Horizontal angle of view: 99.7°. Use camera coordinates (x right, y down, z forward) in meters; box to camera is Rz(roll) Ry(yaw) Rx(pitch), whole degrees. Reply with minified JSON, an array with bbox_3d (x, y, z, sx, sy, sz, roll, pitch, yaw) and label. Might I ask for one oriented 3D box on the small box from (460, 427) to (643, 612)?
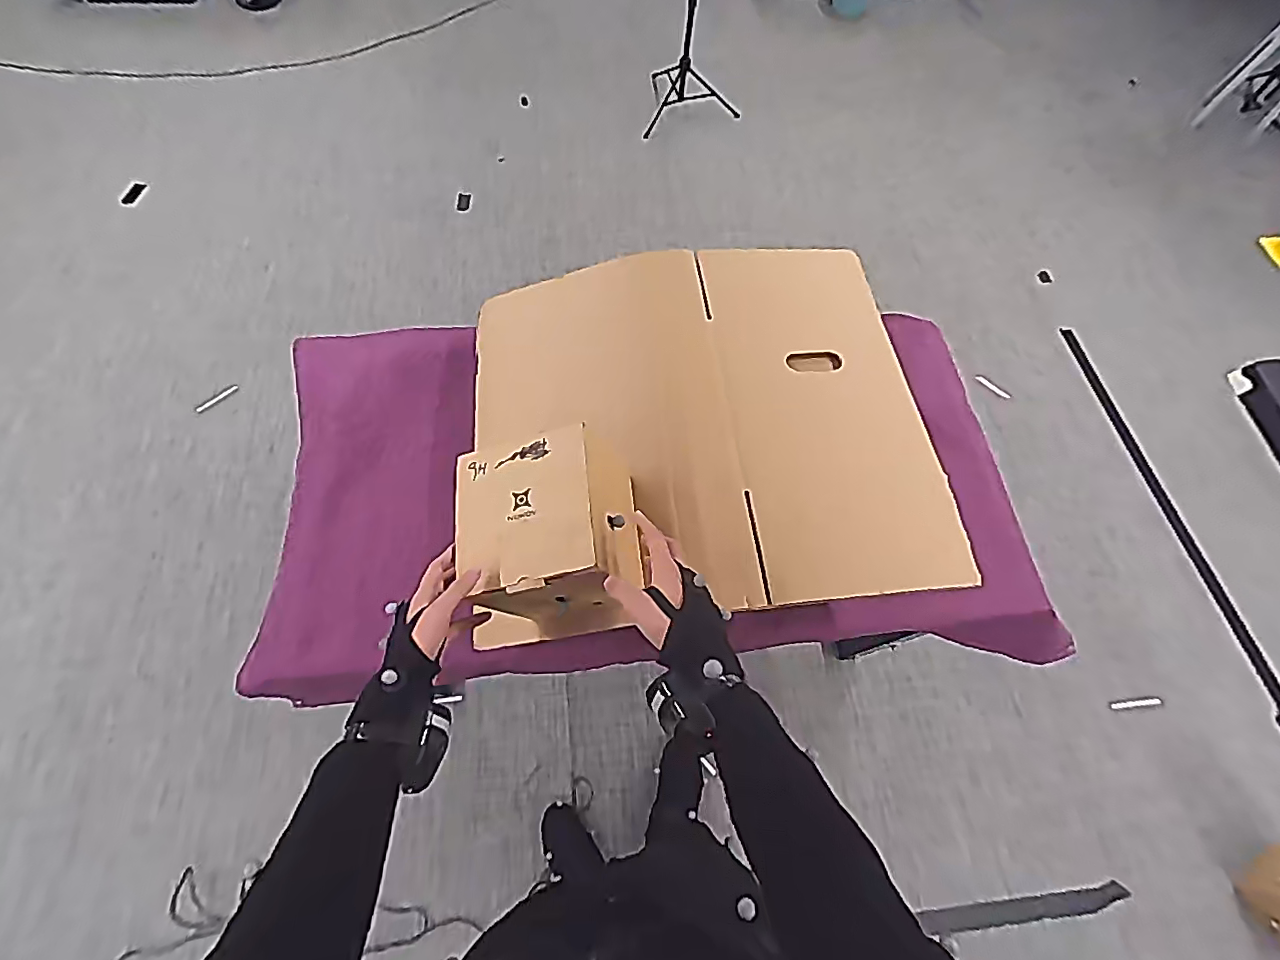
[{"bbox_3d":[-0.103,0.062,0.671,0.168,0.176,0.179,-14,66,13],"label":"small box"}]
